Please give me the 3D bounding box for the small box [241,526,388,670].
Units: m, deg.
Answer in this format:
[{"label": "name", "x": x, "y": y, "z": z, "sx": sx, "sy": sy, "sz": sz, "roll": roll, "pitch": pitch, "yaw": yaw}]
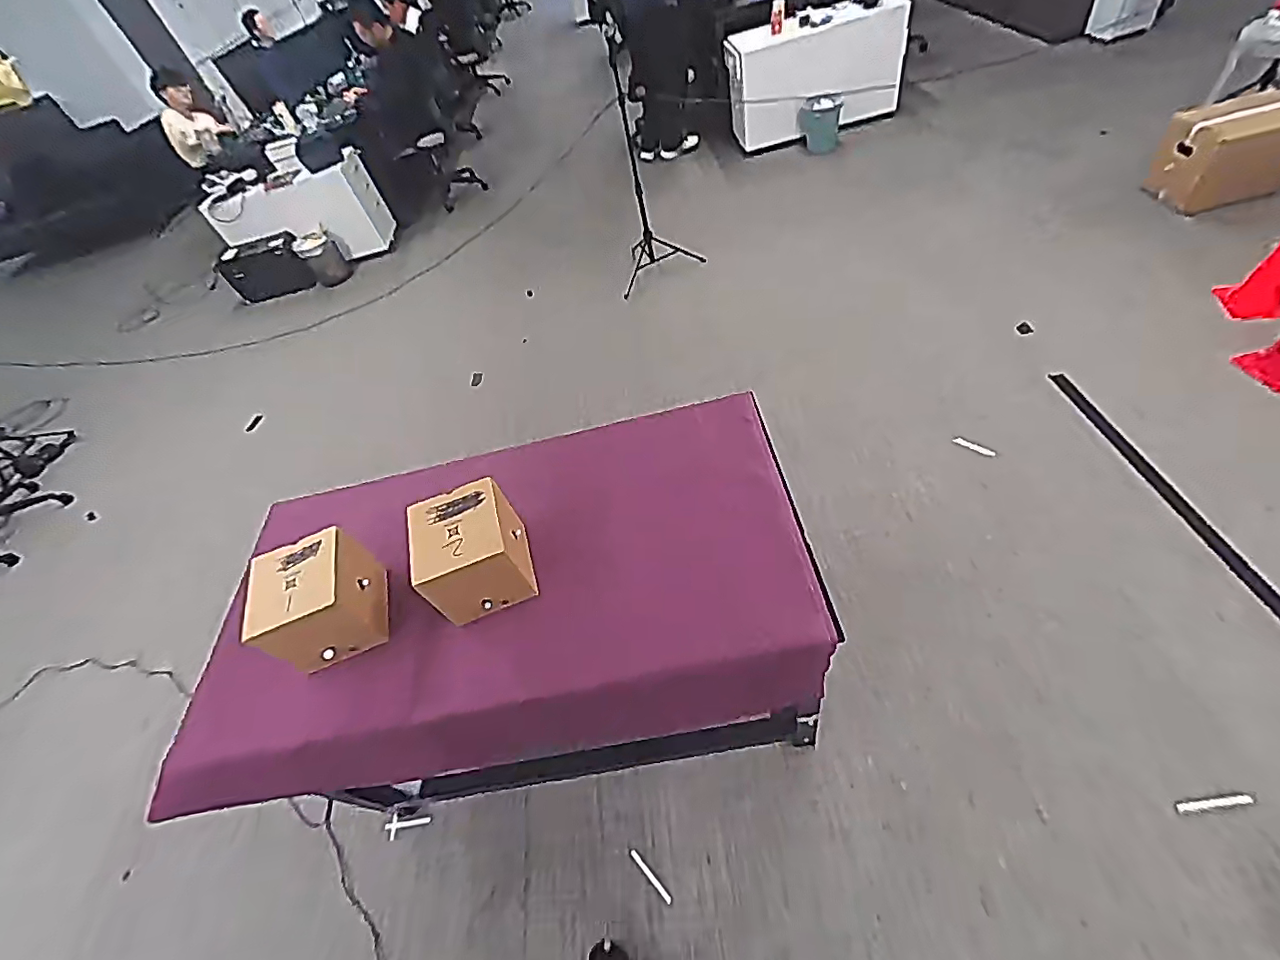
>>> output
[{"label": "small box", "x": -0.593, "y": 0.223, "z": 1.011, "sx": 0.168, "sy": 0.176, "sz": 0.179, "roll": -23, "pitch": 50, "yaw": -3}]
